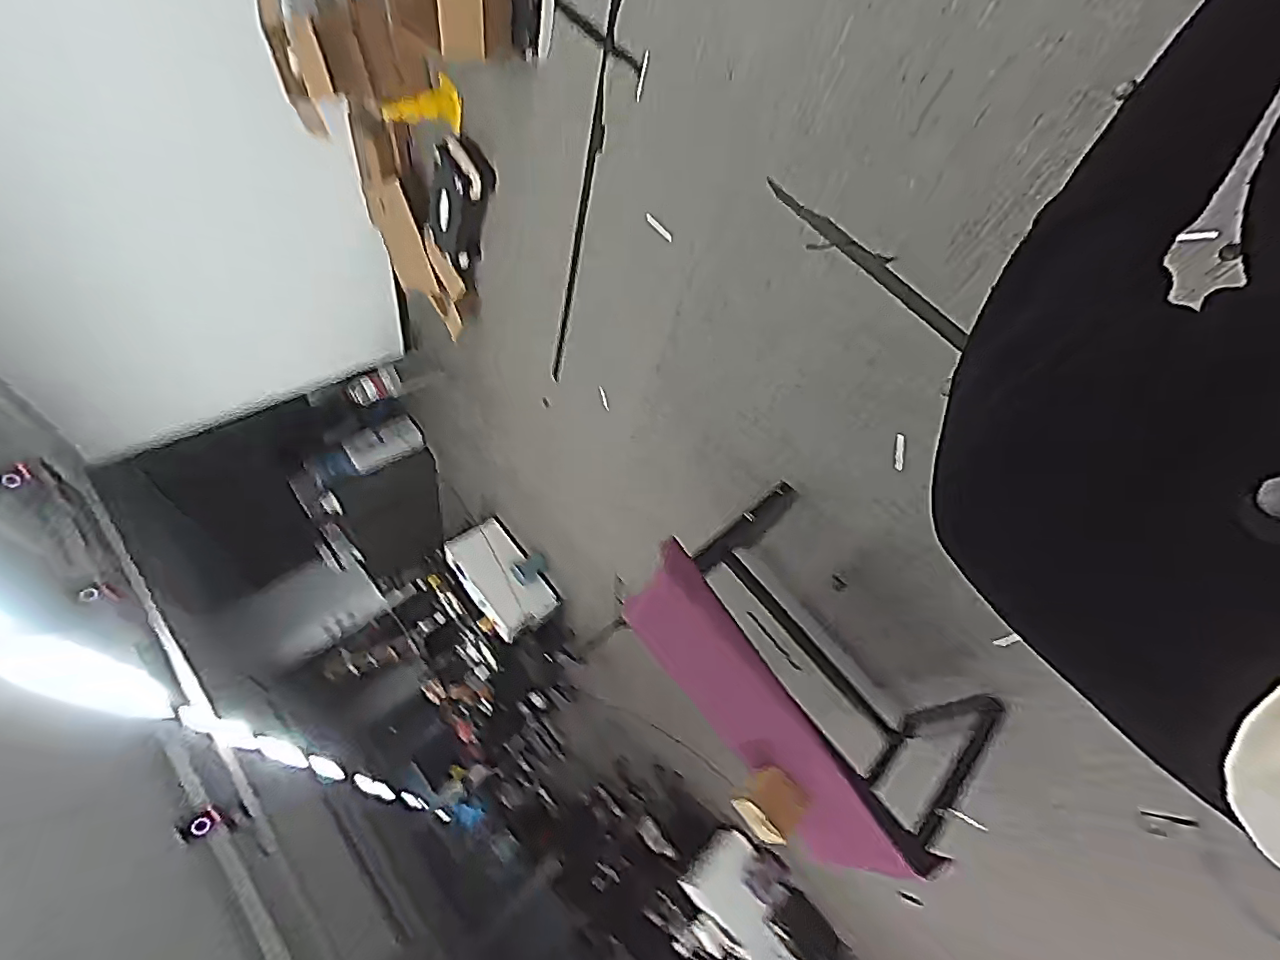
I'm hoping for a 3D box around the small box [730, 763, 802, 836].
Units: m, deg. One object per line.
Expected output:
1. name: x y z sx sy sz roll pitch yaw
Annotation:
1. small box: 0.472 1.180 2.004 0.168 0.176 0.179 49 148 15
